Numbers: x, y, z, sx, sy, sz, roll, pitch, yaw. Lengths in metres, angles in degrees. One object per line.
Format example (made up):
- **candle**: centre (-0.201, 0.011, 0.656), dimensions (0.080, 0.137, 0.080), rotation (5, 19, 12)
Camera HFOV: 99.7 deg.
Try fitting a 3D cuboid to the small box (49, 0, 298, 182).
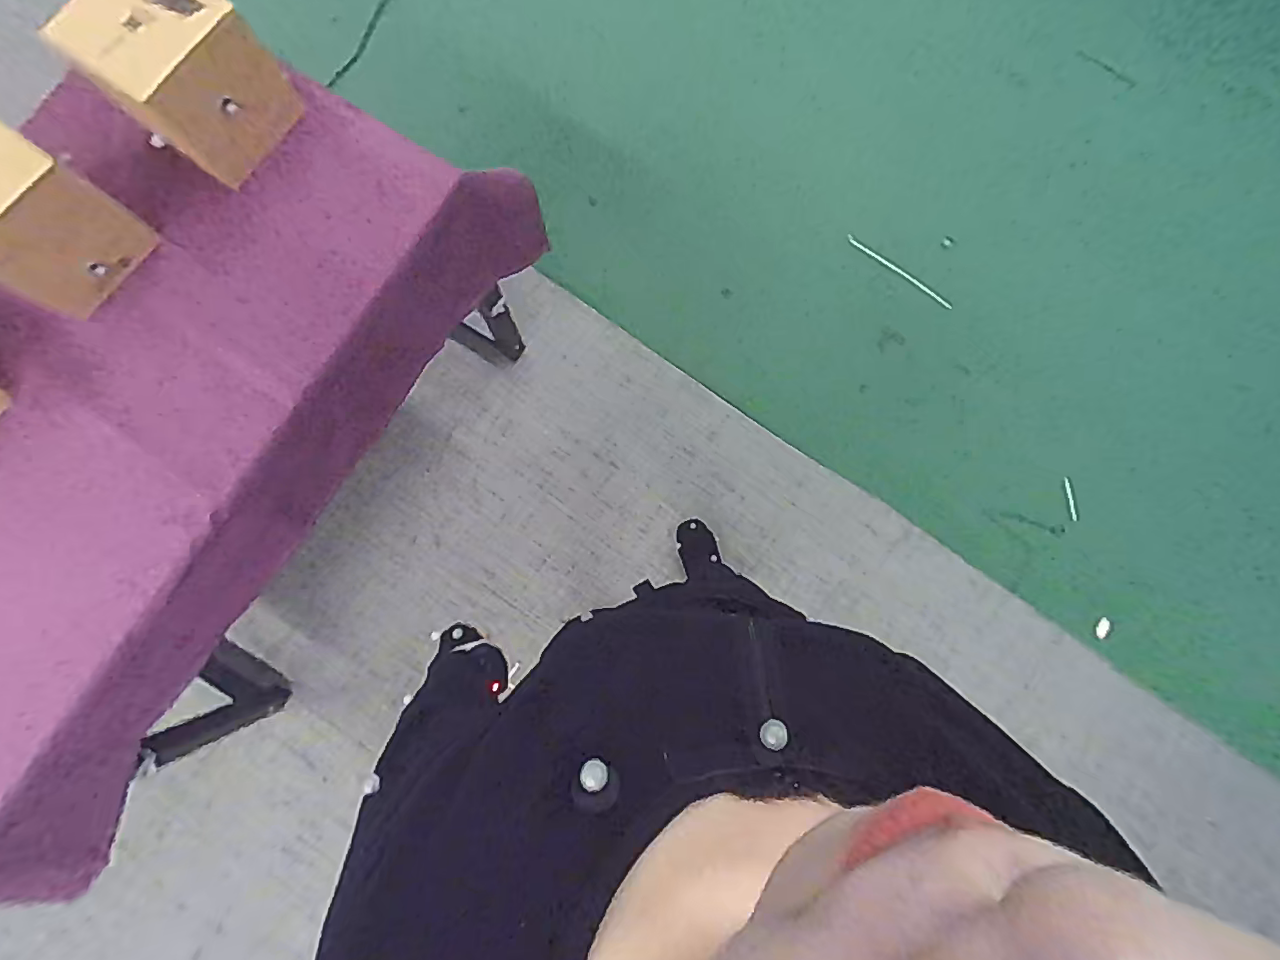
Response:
- **small box**: centre (-0.630, -0.575, 0.763), dimensions (0.168, 0.176, 0.179), rotation (35, 84, 2)
